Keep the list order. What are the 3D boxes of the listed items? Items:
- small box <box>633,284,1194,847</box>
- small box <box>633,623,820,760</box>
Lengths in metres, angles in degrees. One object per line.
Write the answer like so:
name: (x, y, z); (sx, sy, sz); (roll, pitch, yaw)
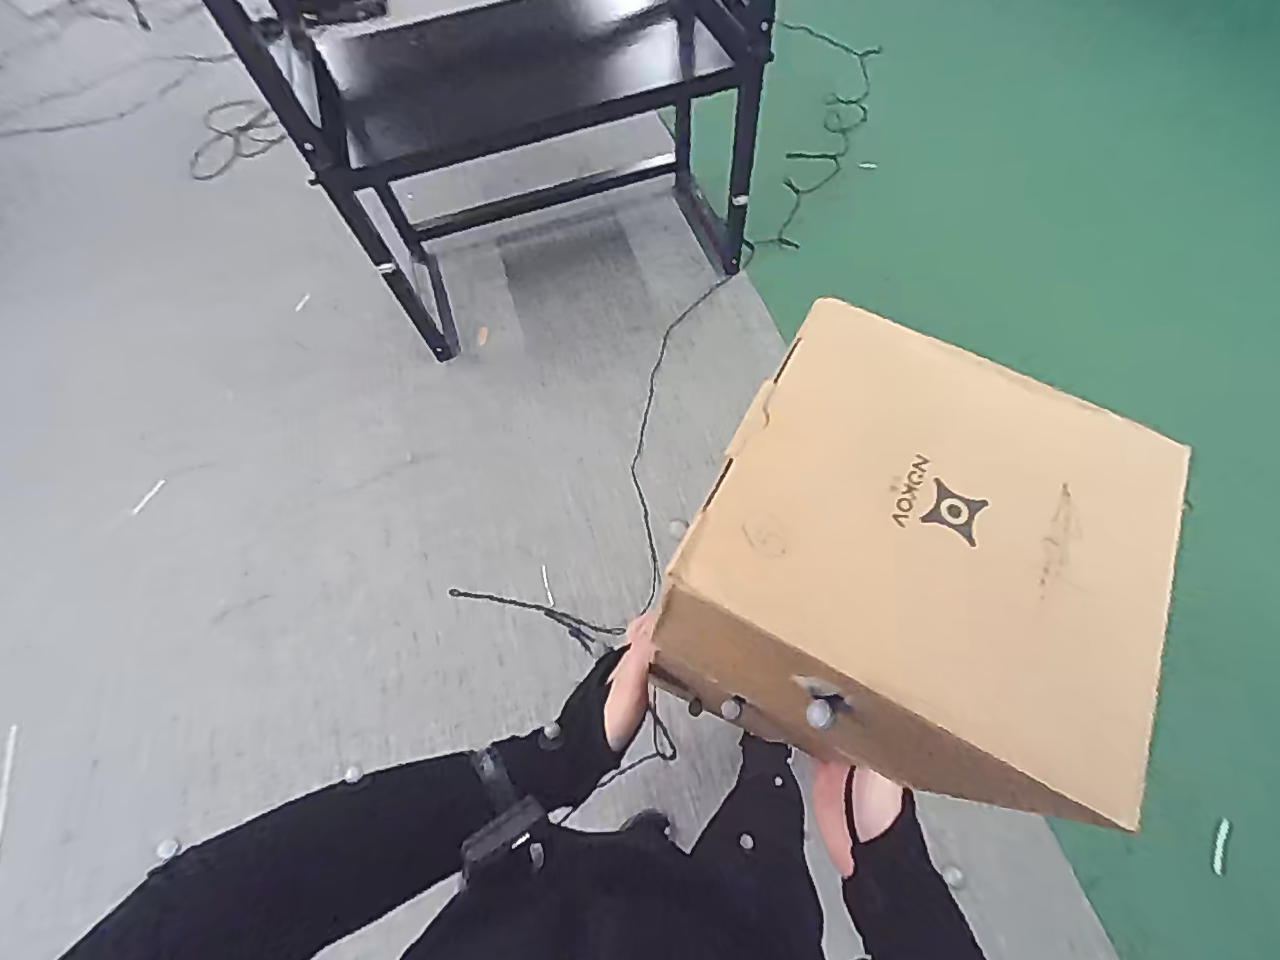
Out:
small box: (0.108, 0.043, 0.280); (0.179, 0.176, 0.168); (30, 68, 11)
small box: (0.105, 0.107, 0.430); (0.179, 0.176, 0.168); (25, 67, 10)
